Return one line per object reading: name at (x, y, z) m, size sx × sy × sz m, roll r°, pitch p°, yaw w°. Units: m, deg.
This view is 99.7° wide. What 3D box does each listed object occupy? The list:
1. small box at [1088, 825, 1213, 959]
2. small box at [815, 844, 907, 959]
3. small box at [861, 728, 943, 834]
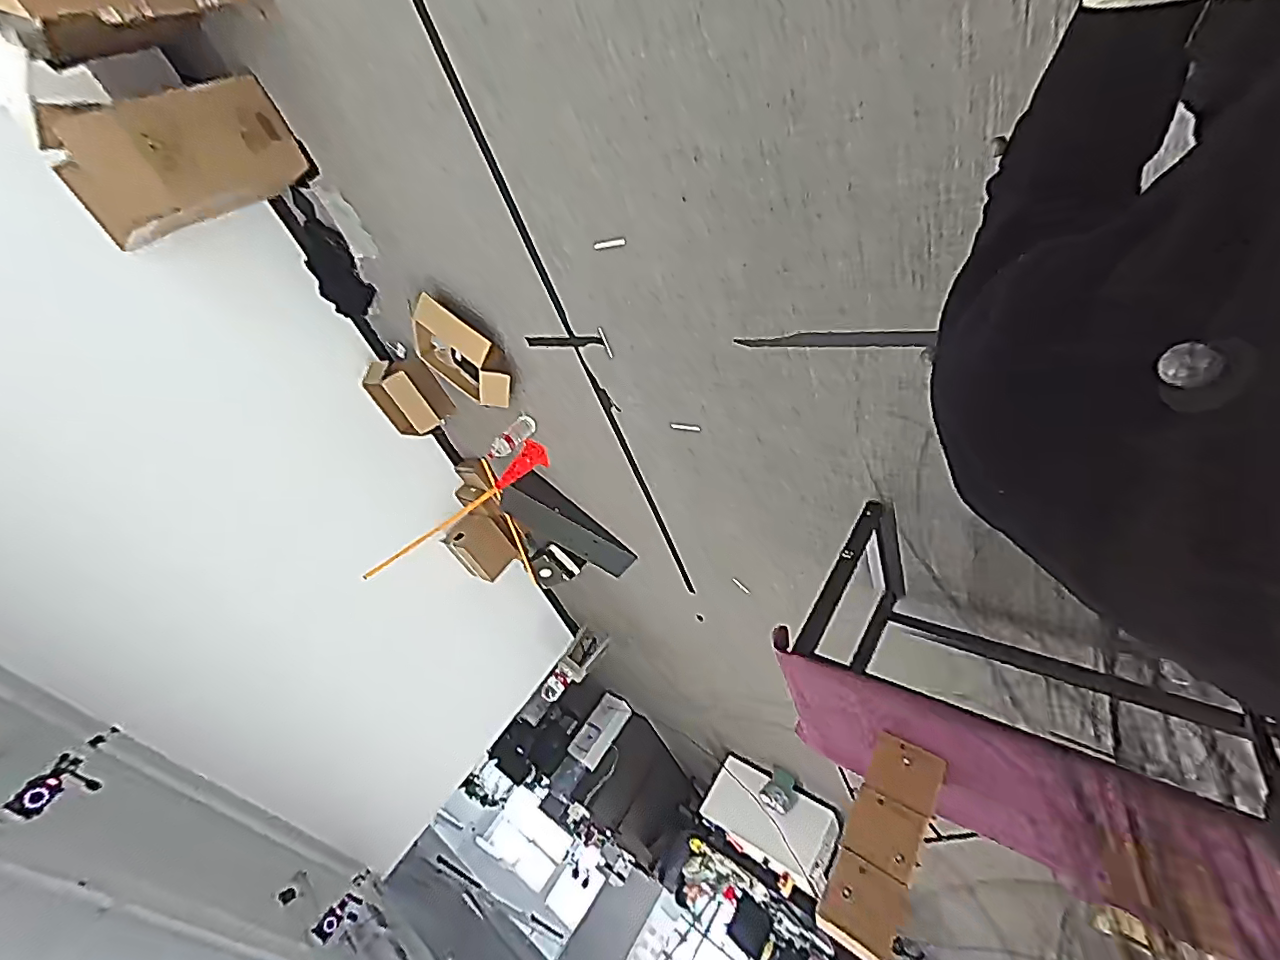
small box at (1.103, 0.898, 1.171) m, size 0.168 × 0.176 × 0.179 m, roll 13°, pitch 139°, yaw 39°
small box at (0.548, 1.046, 1.342) m, size 0.168 × 0.176 × 0.179 m, roll 18°, pitch 144°, yaw 35°
small box at (0.733, 0.837, 1.513) m, size 0.168 × 0.176 × 0.179 m, roll 16°, pitch 141°, yaw 35°
